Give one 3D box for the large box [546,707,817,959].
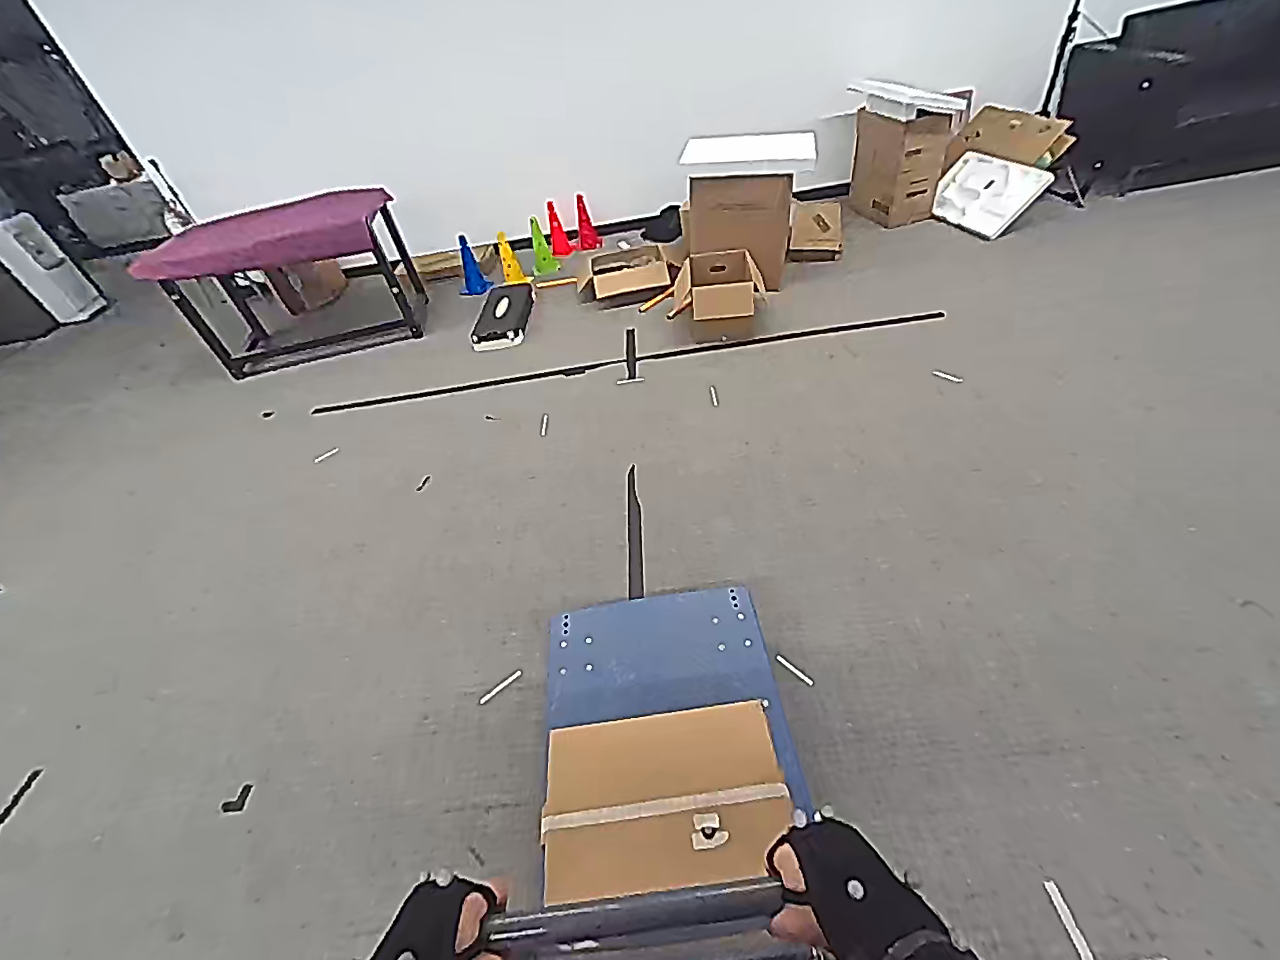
[{"bbox_3d":[0.062,0.658,0.978,0.408,0.320,0.320,-9,43,1],"label":"large box"}]
